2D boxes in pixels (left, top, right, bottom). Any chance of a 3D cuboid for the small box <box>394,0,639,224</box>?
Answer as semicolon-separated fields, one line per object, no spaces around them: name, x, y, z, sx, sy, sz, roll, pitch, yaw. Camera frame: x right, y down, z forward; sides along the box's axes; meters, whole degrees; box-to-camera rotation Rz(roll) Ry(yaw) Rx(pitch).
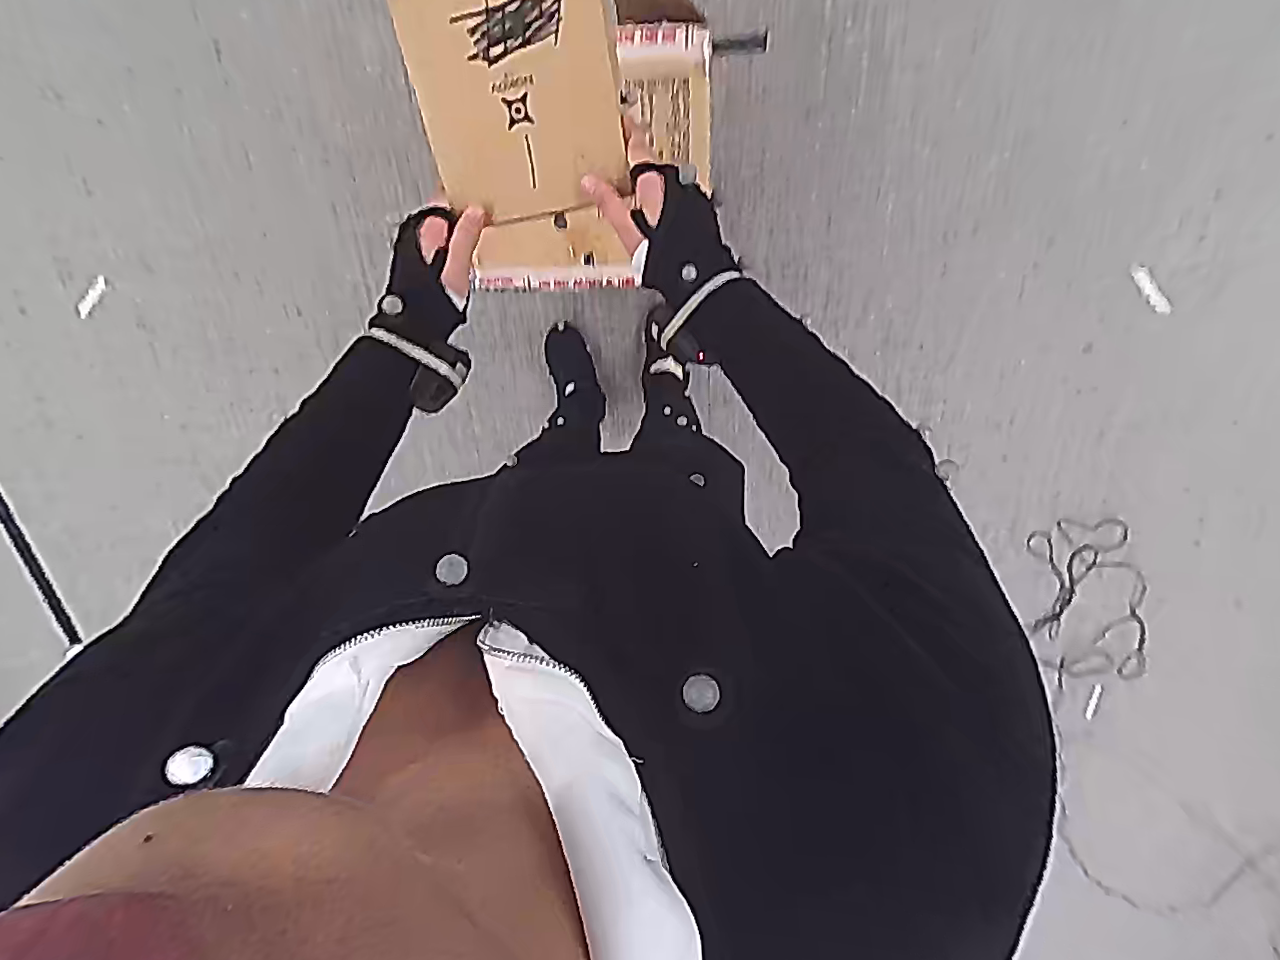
small box;-0.096;-0.351;0.514;0.168;0.176;0.179;-8;116;7
